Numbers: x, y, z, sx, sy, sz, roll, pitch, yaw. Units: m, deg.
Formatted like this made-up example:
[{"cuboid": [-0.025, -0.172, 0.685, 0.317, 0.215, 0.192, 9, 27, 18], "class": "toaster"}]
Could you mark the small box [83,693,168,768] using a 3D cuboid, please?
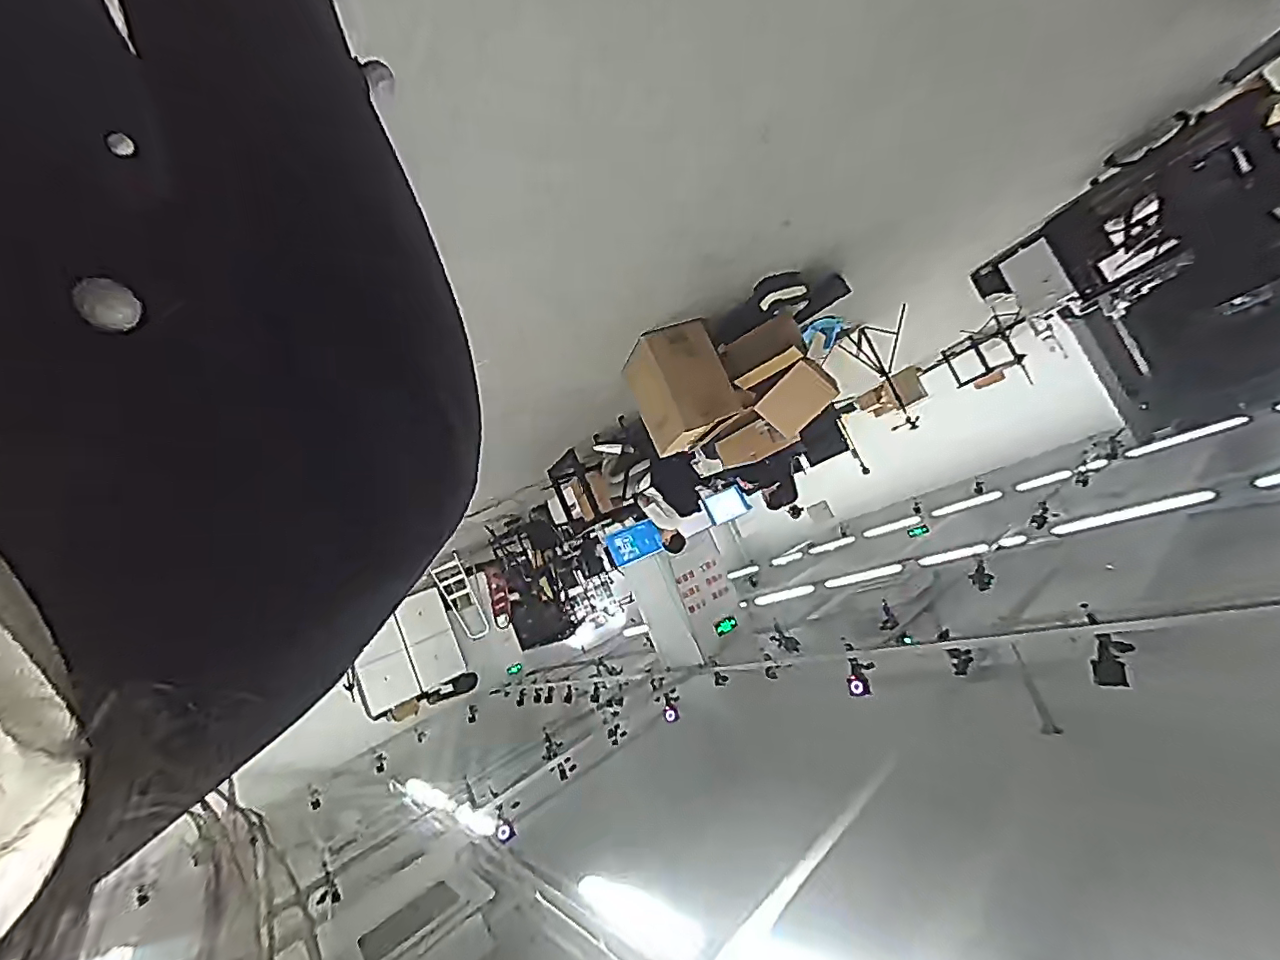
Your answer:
[{"cuboid": [-1.744, 0.846, 1.833, 0.179, 0.176, 0.168, -18, 171, -39], "class": "small box"}]

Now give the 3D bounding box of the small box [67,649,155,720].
[{"cuboid": [-1.815, 0.701, 1.855, 0.179, 0.176, 0.168, -18, 171, -34], "class": "small box"}]
